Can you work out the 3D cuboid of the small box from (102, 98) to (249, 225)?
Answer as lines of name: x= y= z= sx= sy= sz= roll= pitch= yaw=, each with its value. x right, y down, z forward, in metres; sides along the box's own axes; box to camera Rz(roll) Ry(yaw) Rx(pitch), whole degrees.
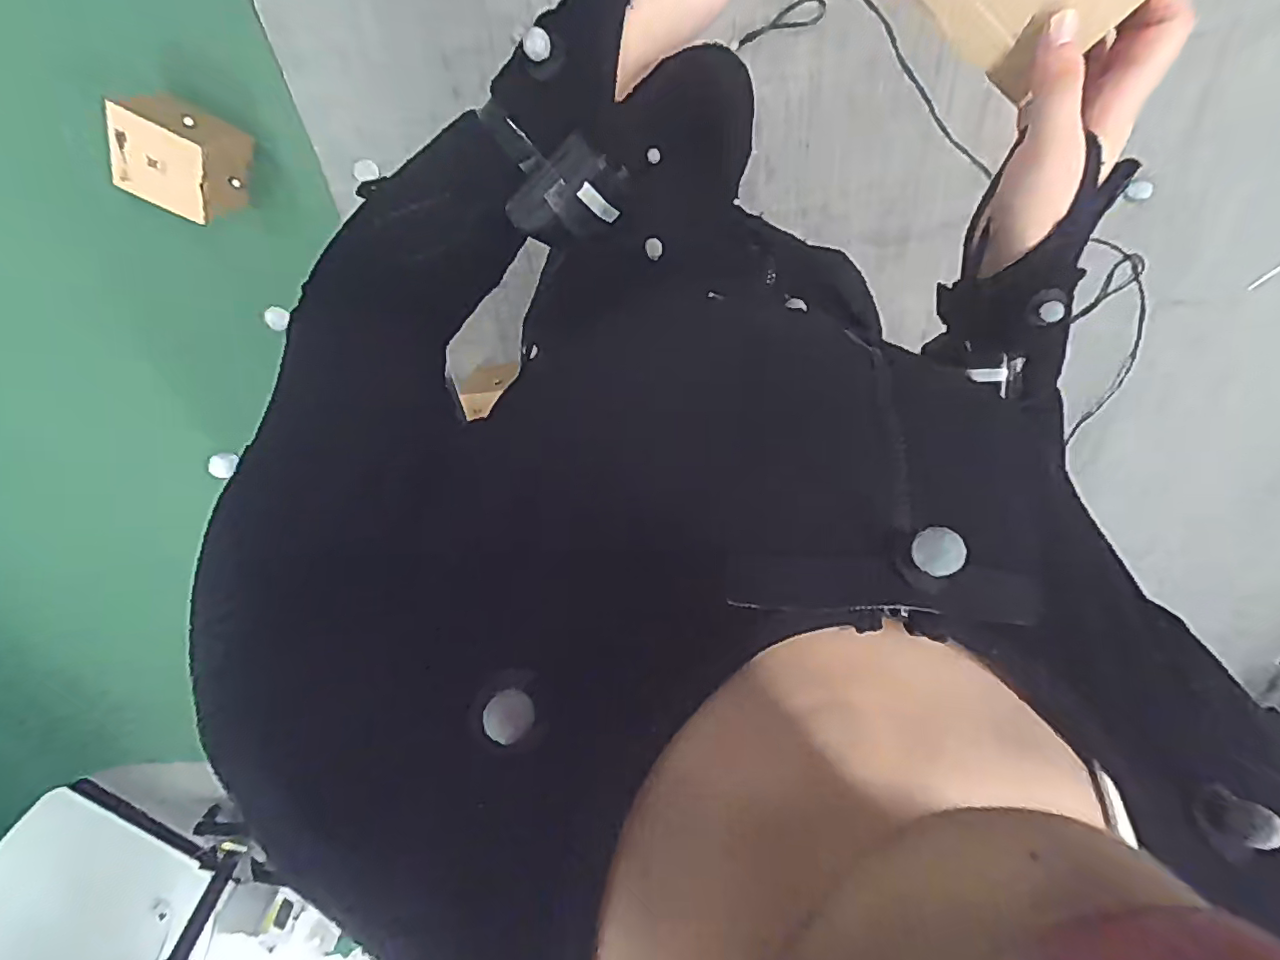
small box: x=-0.970 y=-0.680 z=1.145 sx=0.179 sy=0.176 sz=0.168 roll=23 pitch=125 yaw=-15

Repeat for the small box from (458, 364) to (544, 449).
small box: x=-0.367 y=-0.205 z=1.476 sx=0.179 sy=0.176 sz=0.168 roll=-5 pitch=126 yaw=7
